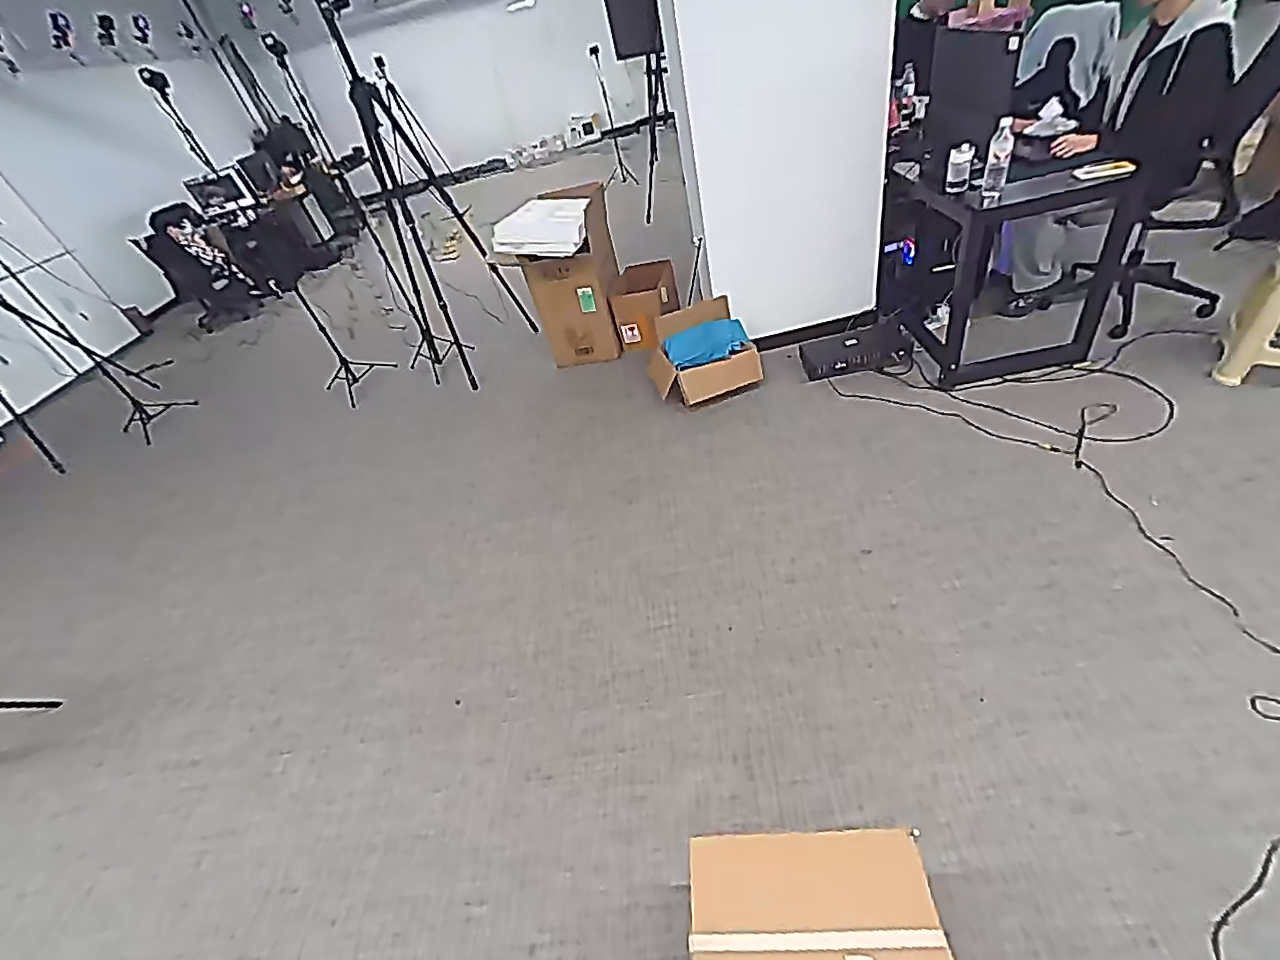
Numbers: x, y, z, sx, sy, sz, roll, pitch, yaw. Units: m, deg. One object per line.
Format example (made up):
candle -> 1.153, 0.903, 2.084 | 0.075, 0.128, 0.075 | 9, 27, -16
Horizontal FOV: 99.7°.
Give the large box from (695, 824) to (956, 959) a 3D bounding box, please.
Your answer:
large box -> 0.327, 0.863, 0.985 | 0.408, 0.320, 0.320 | -9, 41, 9
